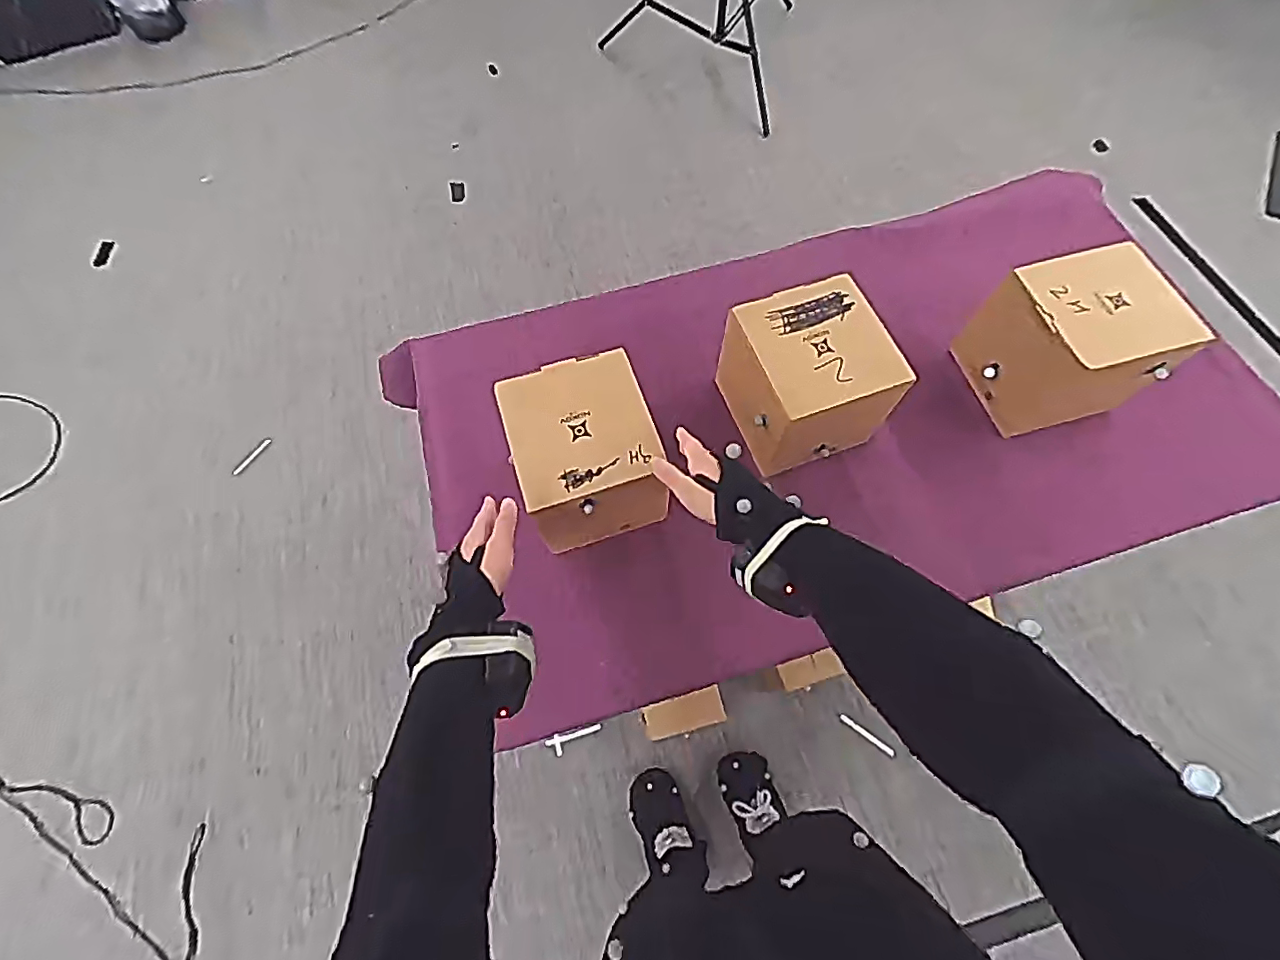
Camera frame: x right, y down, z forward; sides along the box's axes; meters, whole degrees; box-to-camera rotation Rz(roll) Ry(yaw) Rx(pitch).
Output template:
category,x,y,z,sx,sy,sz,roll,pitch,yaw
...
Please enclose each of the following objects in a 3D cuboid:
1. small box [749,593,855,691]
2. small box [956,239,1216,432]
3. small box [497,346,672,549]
category,x,y,z,sx,sy,sz,roll,pitch,yaw
small box,0.373,0.390,1.288,0.168,0.176,0.179,-17,68,-5
small box,0.582,-0.188,0.736,0.179,0.176,0.168,-15,66,-4
small box,-0.067,-0.034,0.690,0.168,0.176,0.179,-18,67,-6
